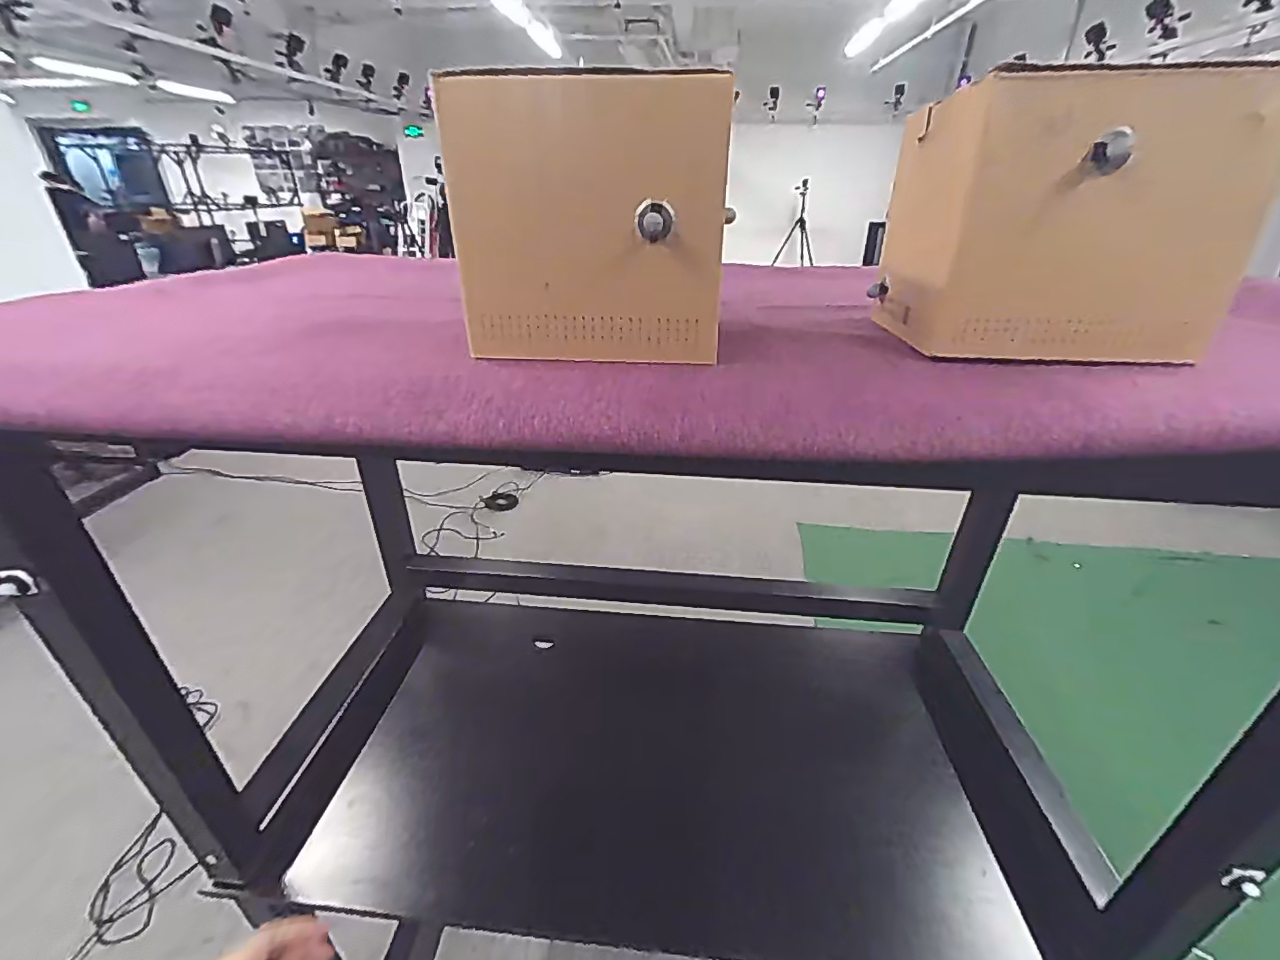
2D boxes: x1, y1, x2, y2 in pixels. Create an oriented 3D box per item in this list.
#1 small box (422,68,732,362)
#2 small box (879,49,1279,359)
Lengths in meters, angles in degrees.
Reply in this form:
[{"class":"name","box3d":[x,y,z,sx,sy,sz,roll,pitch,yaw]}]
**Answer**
[{"class":"small box","box3d":[-0.031,-0.190,0.406,0.179,0.176,0.168,1,28,4]},{"class":"small box","box3d":[0.293,-0.191,0.402,0.179,0.176,0.168,3,27,6]}]
